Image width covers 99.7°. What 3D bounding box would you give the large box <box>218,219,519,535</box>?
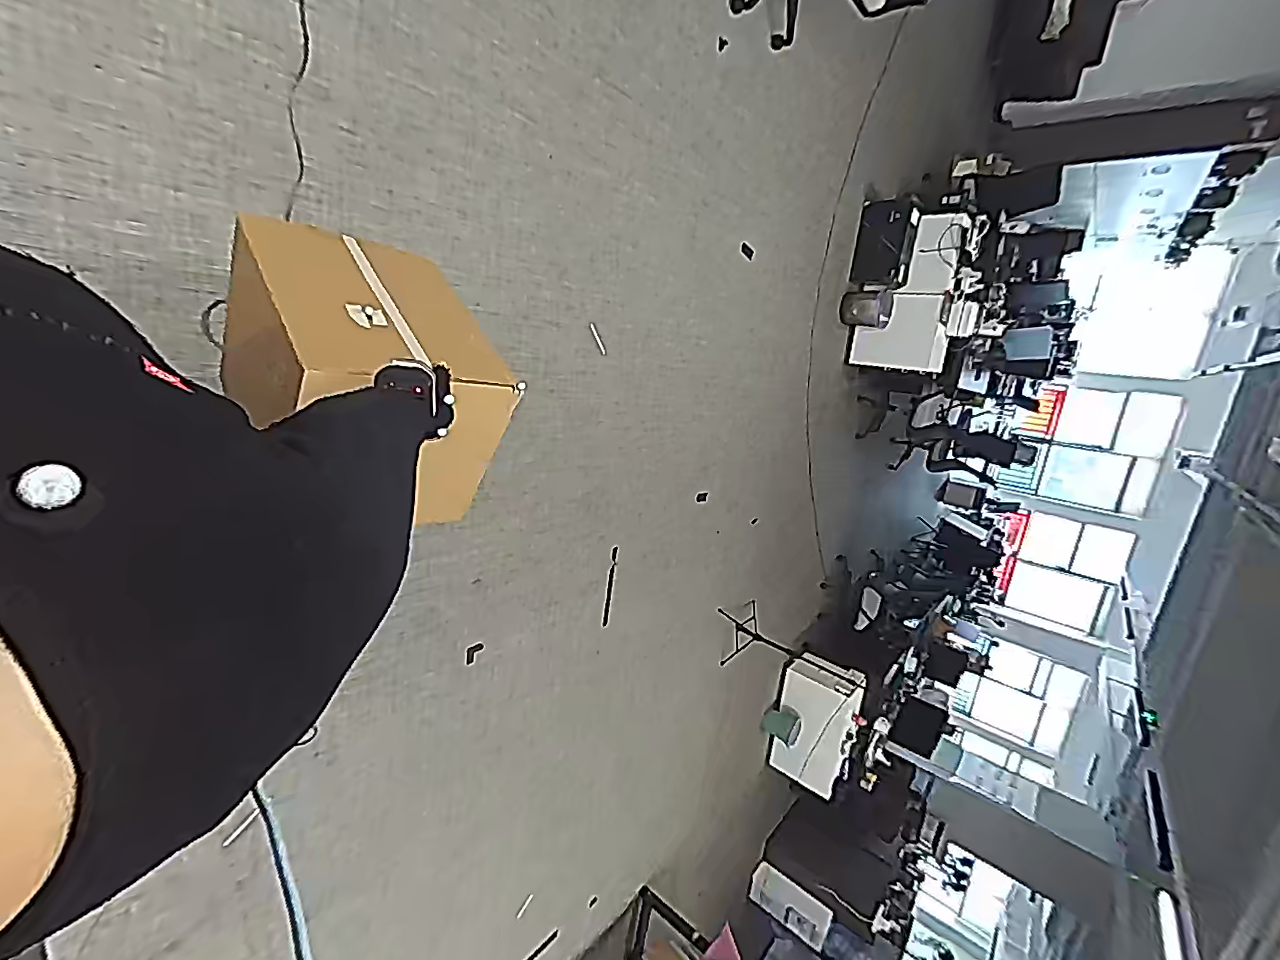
[{"bbox_3d":[-0.483,-0.166,0.934,0.320,0.408,0.320,-5,139,-47],"label":"large box"}]
